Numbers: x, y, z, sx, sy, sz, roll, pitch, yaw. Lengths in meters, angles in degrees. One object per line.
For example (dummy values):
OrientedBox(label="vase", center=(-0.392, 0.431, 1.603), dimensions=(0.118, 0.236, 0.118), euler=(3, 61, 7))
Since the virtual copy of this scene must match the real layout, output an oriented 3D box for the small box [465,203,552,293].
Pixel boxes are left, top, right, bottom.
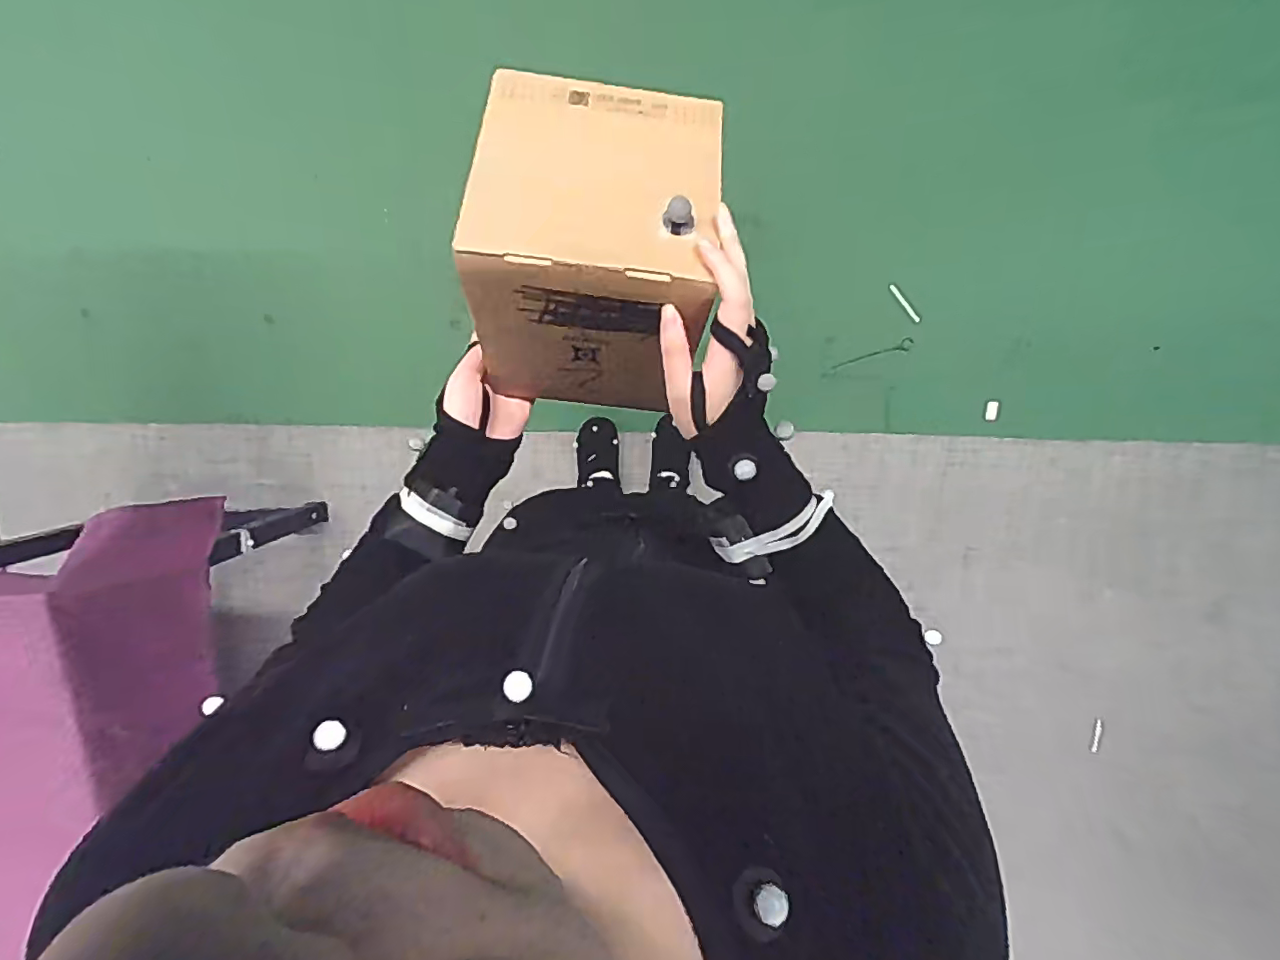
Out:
OrientedBox(label="small box", center=(-0.316, -0.560, 1.326), dimensions=(0.179, 0.176, 0.168), euler=(4, 99, 2))
